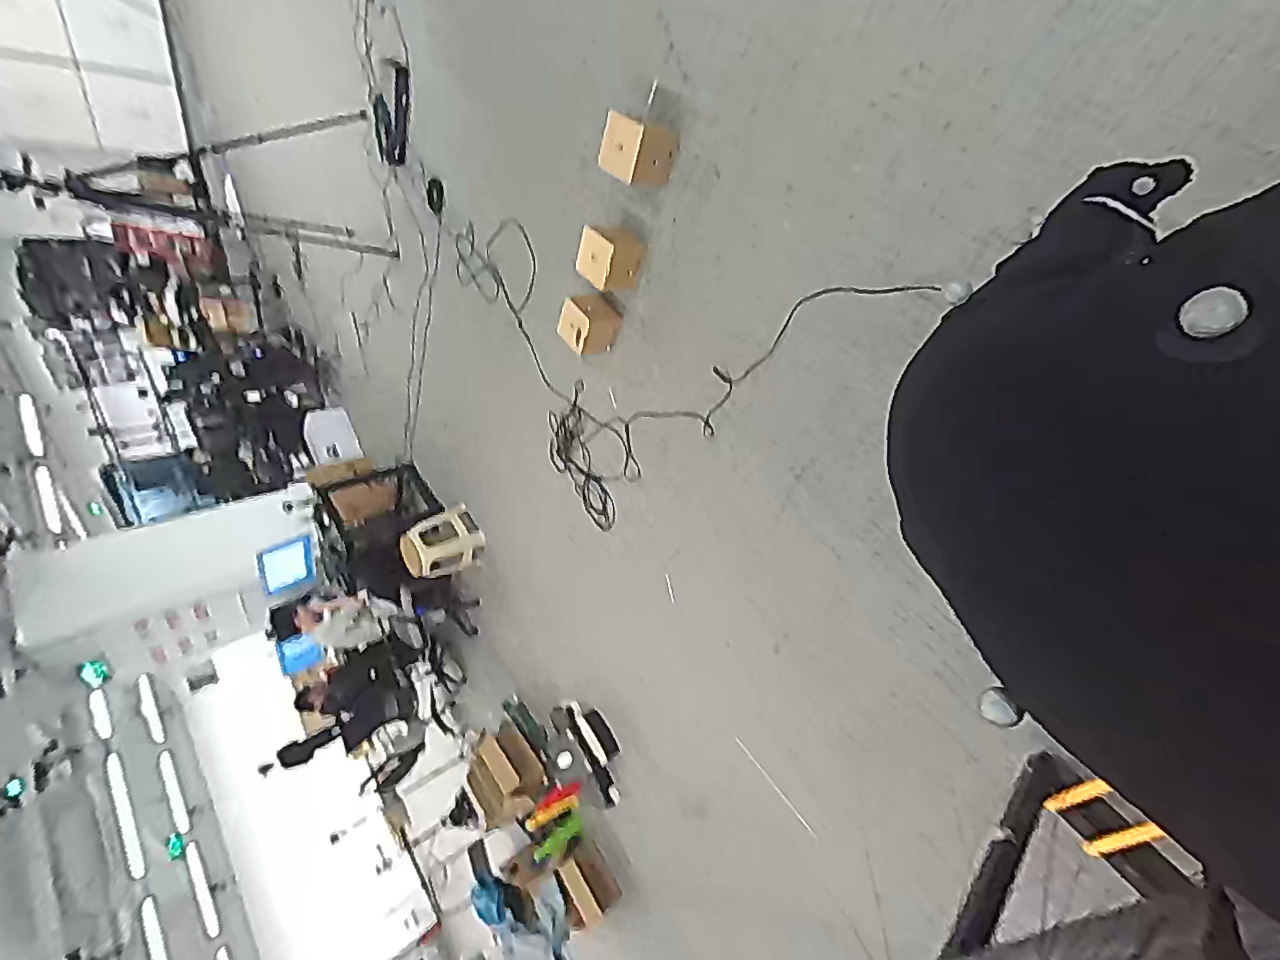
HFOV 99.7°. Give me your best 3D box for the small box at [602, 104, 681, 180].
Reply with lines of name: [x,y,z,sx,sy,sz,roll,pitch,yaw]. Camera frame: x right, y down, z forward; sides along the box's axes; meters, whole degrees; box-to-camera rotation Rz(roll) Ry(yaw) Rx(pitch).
small box: [0.007,-1.102,1.773,0.179,0.176,0.168,45,134,27]

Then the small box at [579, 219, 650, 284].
small box: [-0.095,-0.845,2.003,0.179,0.176,0.168,45,135,25]

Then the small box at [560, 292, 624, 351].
small box: [-0.193,-0.651,2.196,0.179,0.176,0.168,51,137,23]
